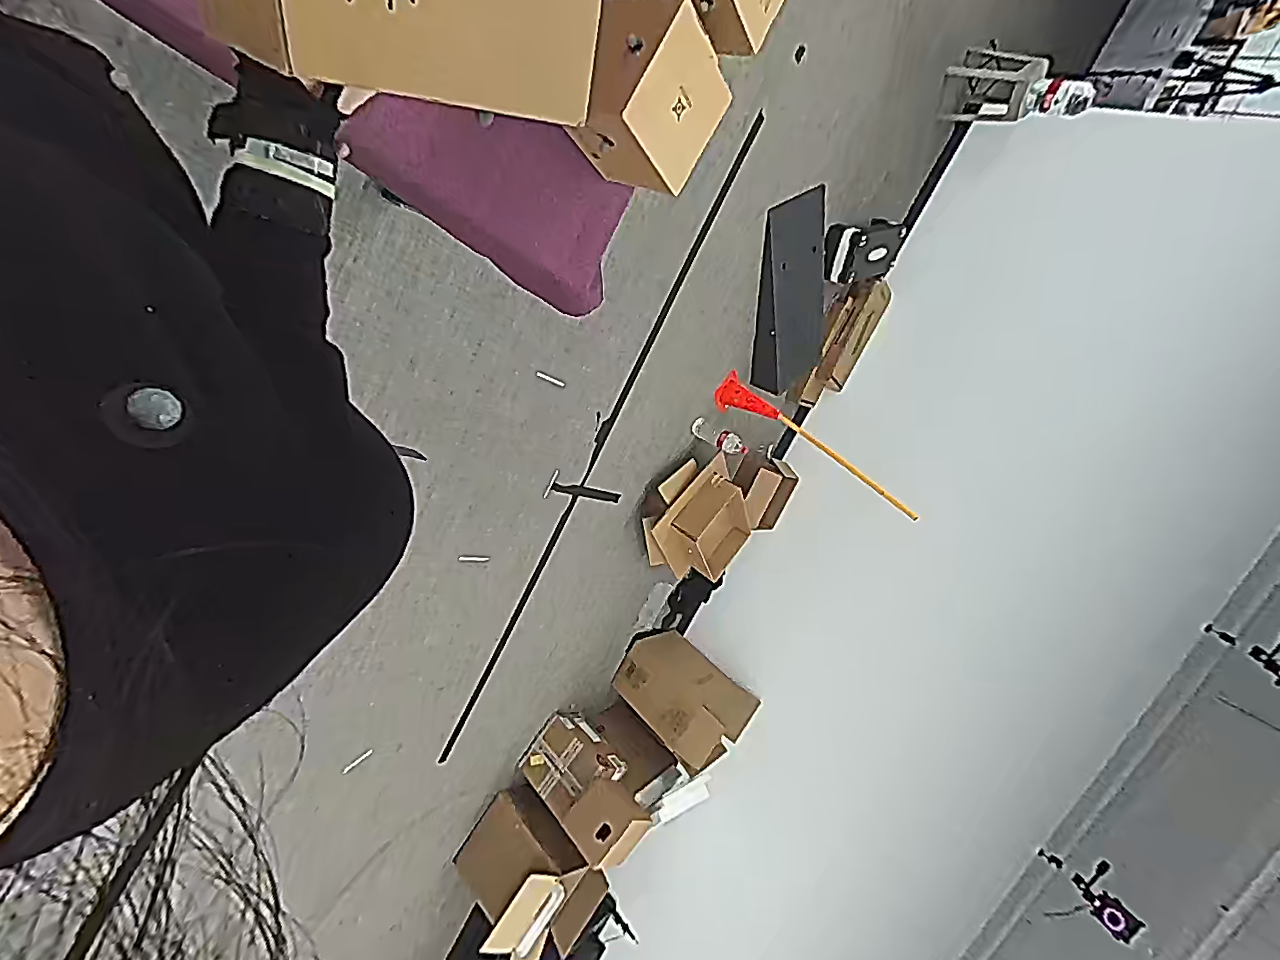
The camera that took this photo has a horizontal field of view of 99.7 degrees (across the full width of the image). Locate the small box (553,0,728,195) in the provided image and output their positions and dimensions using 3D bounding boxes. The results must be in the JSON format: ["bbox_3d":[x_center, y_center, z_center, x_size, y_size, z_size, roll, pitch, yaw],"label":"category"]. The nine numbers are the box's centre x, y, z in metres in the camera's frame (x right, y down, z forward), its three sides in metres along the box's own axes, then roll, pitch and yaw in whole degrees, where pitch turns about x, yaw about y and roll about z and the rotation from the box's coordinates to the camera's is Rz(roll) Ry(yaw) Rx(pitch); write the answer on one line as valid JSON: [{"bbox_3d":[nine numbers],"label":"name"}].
[{"bbox_3d":[-0.004,-0.568,0.810,0.168,0.176,0.179,23,97,-57],"label":"small box"}]

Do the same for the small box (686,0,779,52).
[{"bbox_3d":[0.102,-0.761,0.773,0.179,0.176,0.168,16,106,-58],"label":"small box"}]
